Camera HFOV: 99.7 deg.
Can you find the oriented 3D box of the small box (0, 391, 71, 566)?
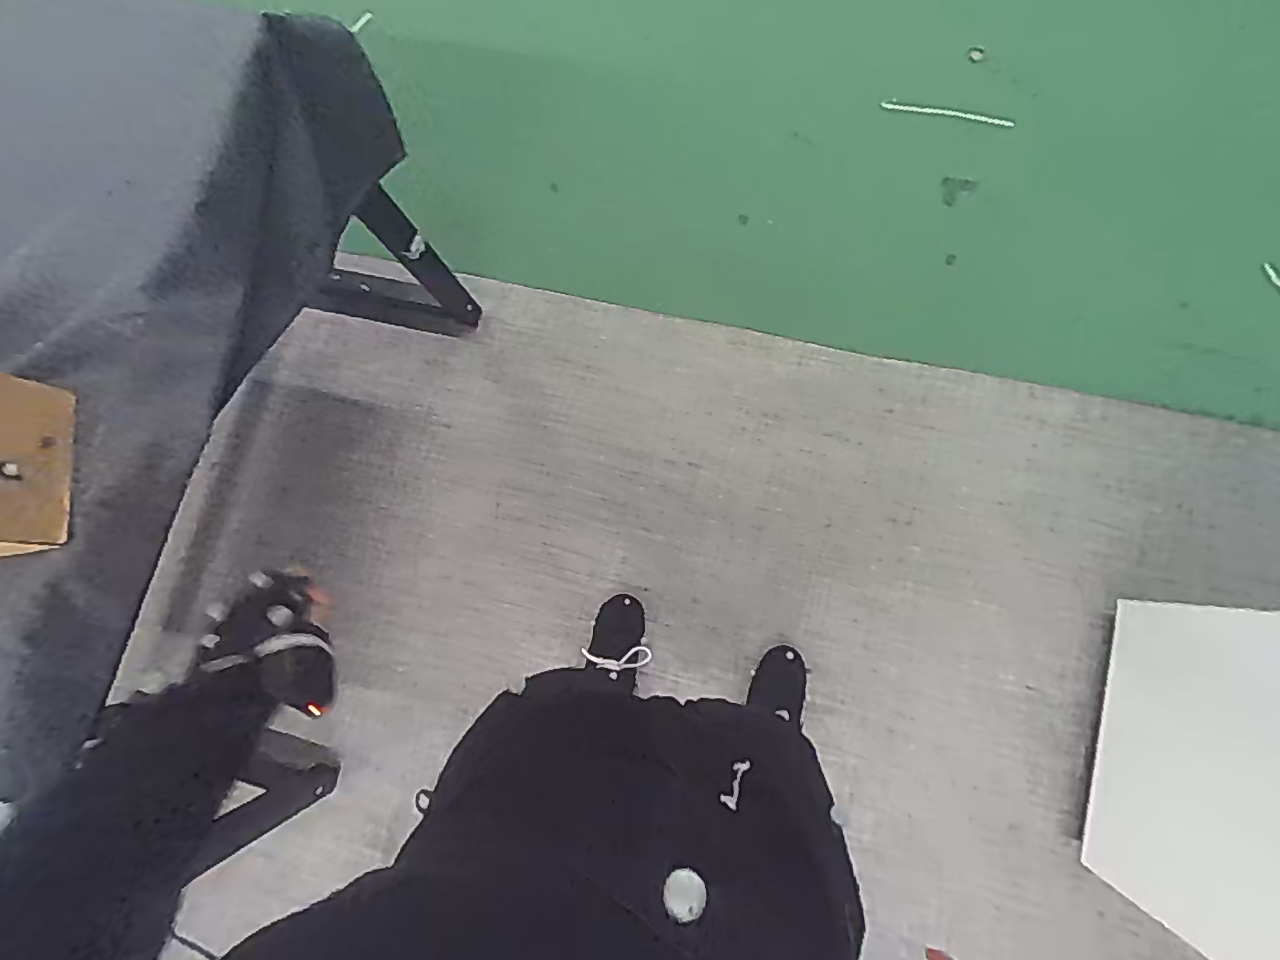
[{"bbox_3d":[-0.696,0.000,0.495,0.179,0.176,0.168,-9,79,3],"label":"small box"}]
